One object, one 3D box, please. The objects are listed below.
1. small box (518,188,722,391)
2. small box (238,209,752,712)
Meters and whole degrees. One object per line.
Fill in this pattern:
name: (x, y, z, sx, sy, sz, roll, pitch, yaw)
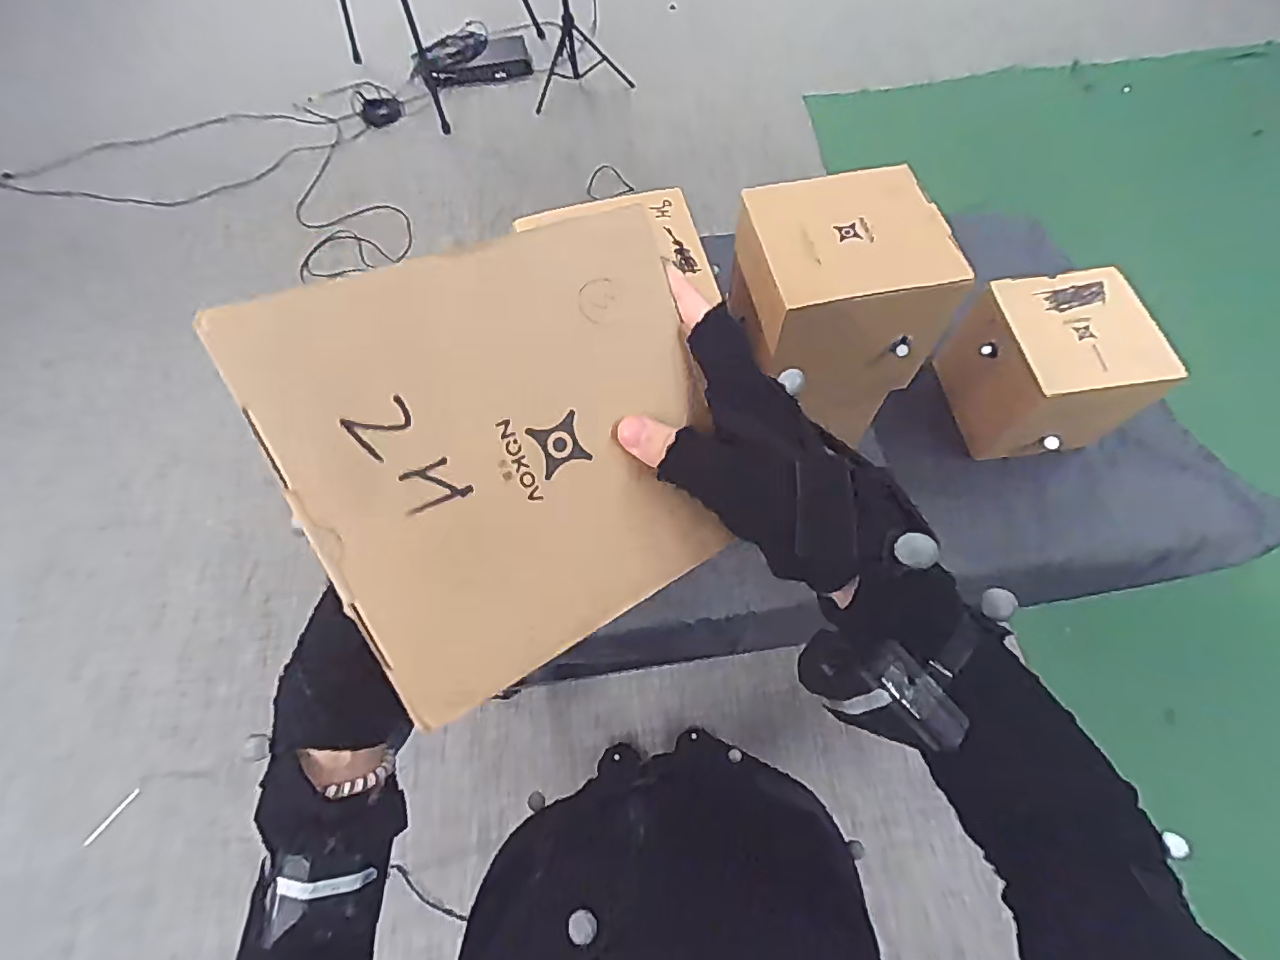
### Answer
small box: (-0.018, -0.175, 0.590, 0.179, 0.176, 0.168, -13, 66, -2)
small box: (-0.075, -0.021, 0.299, 0.179, 0.176, 0.168, -28, 106, -24)
